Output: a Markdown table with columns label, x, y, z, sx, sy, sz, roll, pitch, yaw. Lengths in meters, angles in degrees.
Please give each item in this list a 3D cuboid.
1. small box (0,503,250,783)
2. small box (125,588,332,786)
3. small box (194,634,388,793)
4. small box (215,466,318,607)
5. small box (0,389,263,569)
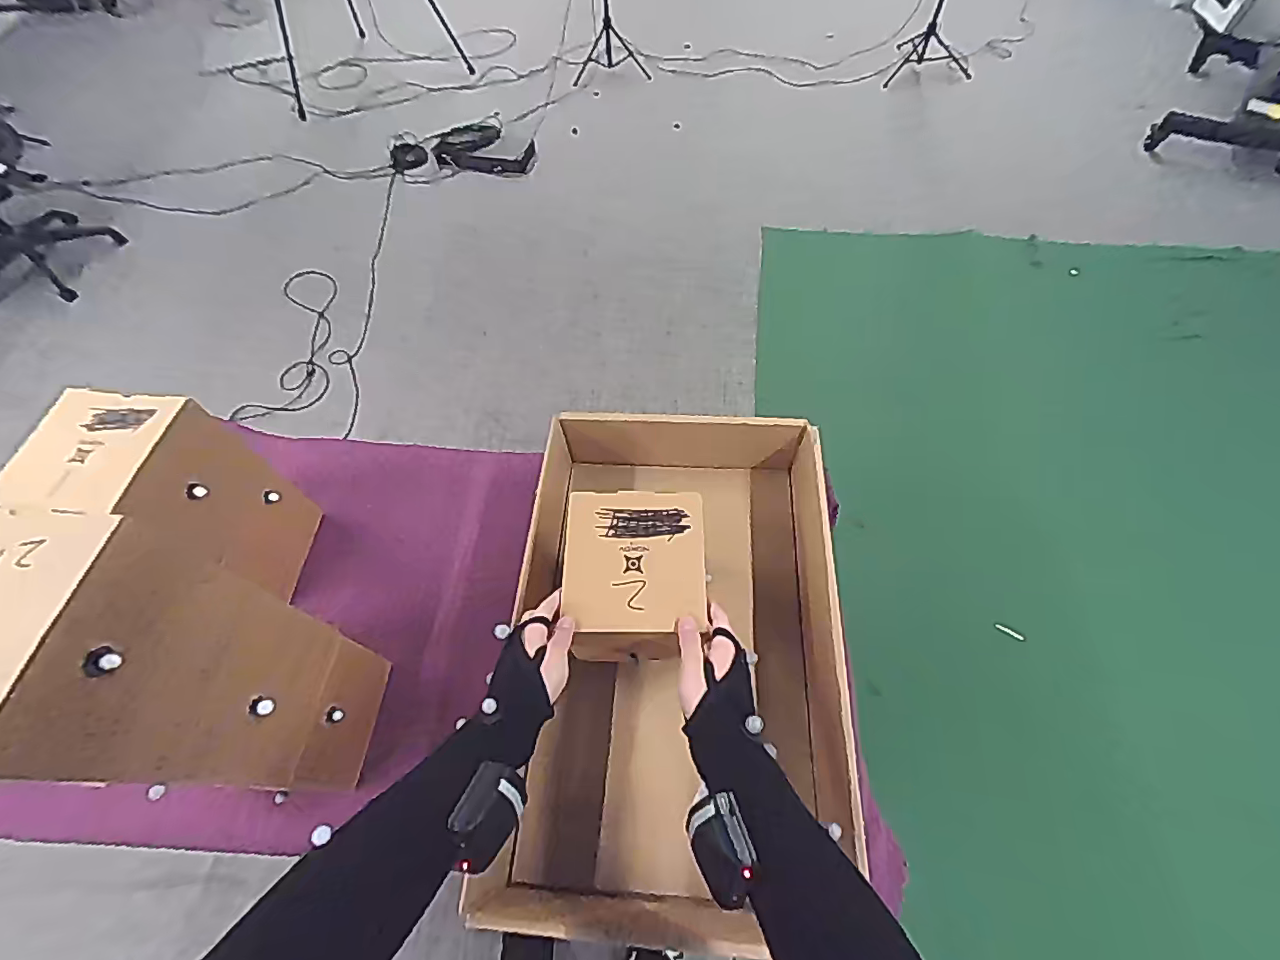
| label | x | y | z | sx | sy | sz | roll | pitch | yaw |
| --- | --- | --- | --- | --- | --- | --- | --- | --- | --- |
| small box | -0.466 | 0.134 | 0.432 | 0.168 | 0.176 | 0.179 | 5 | 59 | 3 |
| small box | -0.466 | 0.220 | 0.574 | 0.168 | 0.176 | 0.179 | 3 | 59 | 3 |
| small box | -0.463 | 0.306 | 0.713 | 0.168 | 0.176 | 0.179 | 3 | 58 | 3 |
| small box | -0.645 | 0.093 | 0.846 | 0.168 | 0.176 | 0.179 | 1 | 59 | 3 |
| small box | -0.643 | 0.007 | 0.705 | 0.168 | 0.176 | 0.179 | 5 | 60 | 5 |
